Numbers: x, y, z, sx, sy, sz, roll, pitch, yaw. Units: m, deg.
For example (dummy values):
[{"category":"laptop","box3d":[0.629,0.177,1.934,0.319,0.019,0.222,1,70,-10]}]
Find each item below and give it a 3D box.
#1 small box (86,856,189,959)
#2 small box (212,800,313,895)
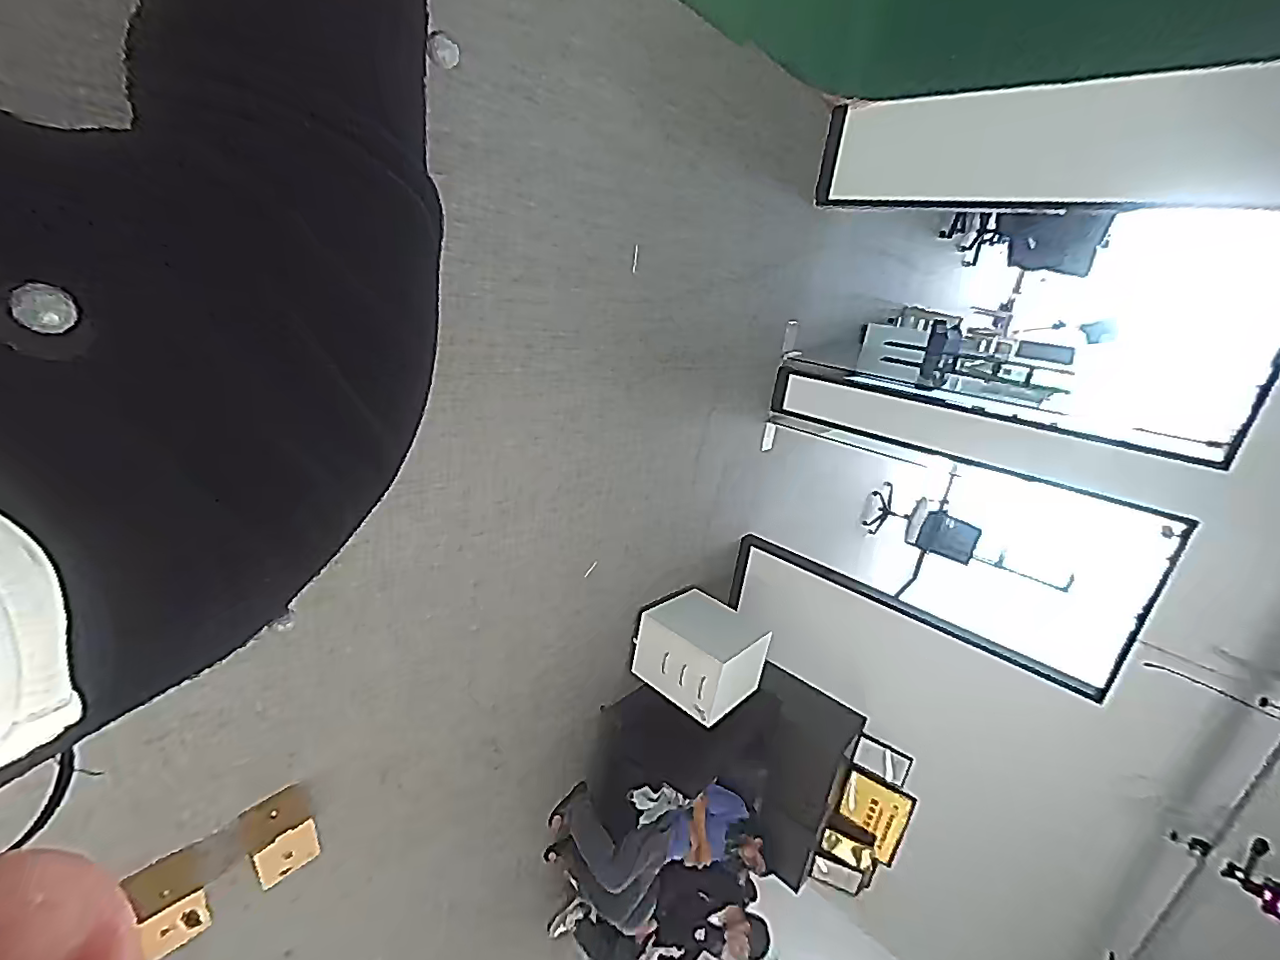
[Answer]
[{"category":"small box","box3d":[-1.374,1.192,1.481,0.179,0.176,0.168,-11,115,-50]},{"category":"small box","box3d":[-1.184,1.145,1.692,0.179,0.176,0.168,-48,143,-26]}]
